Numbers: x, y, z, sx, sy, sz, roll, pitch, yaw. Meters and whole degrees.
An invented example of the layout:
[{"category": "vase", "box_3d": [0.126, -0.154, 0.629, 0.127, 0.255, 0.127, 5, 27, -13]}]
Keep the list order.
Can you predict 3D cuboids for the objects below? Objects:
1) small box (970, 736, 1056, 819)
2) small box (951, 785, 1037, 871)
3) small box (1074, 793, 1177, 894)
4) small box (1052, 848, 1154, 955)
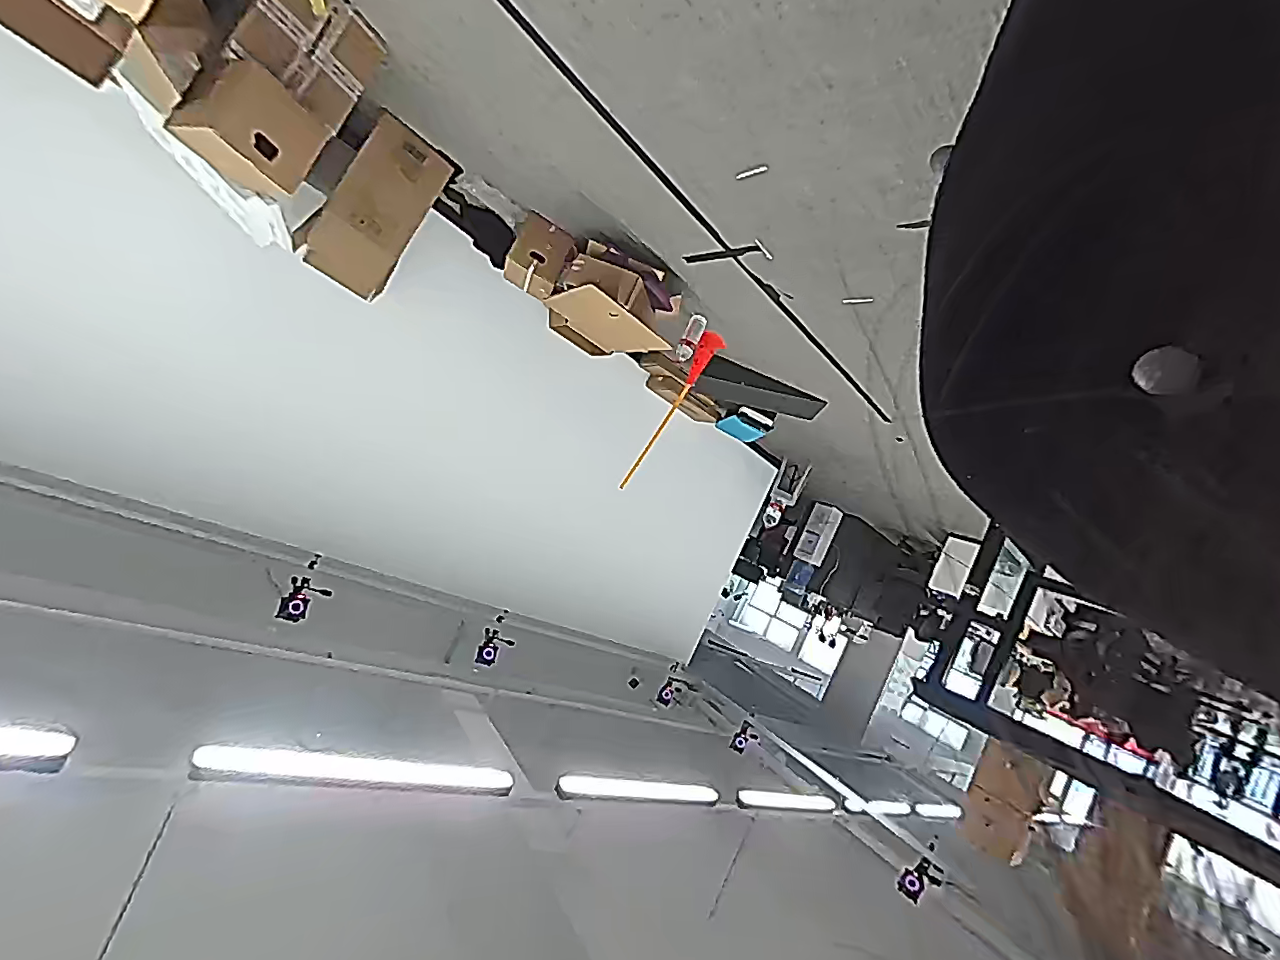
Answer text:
[{"category": "small box", "box_3d": [1.186, 0.938, 1.713, 0.179, 0.176, 0.168, 29, 173, -39]}, {"category": "small box", "box_3d": [1.116, 1.086, 1.702, 0.179, 0.176, 0.168, 29, 174, -39]}, {"category": "small box", "box_3d": [1.345, 0.995, 1.495, 0.179, 0.176, 0.168, 27, 176, -38]}, {"category": "small box", "box_3d": [1.276, 1.143, 1.487, 0.179, 0.176, 0.168, 29, 174, -38]}]
